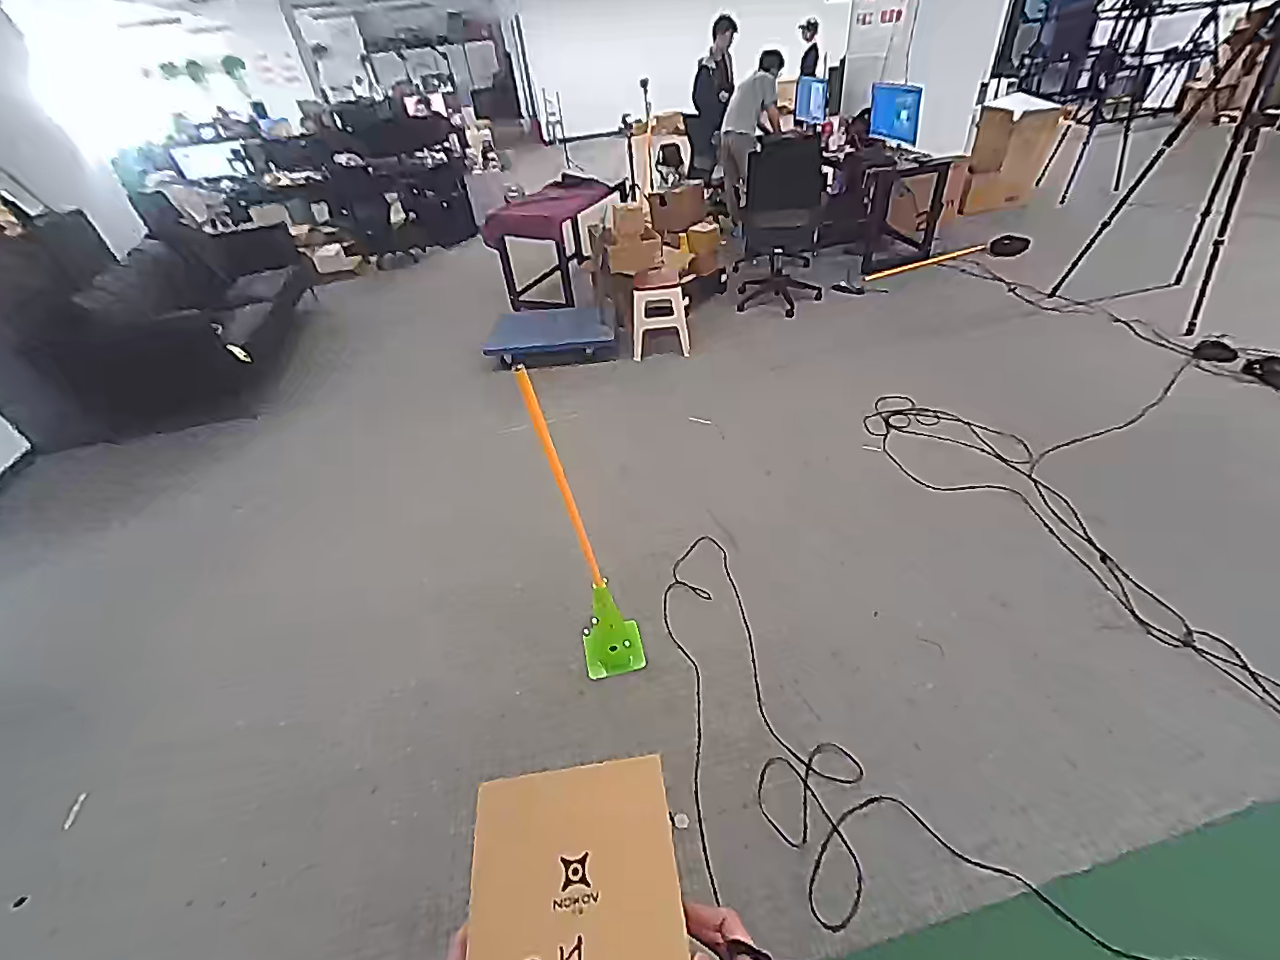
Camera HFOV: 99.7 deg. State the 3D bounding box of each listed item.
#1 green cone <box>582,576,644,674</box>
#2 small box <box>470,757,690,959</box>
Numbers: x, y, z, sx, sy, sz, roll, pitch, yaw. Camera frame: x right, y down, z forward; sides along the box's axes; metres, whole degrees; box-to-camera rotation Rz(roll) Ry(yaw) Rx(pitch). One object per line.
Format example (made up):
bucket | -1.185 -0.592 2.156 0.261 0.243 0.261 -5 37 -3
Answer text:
green cone | -0.109 0.455 1.803 0.202 0.368 0.200 -11 41 -7
small box | -0.046 0.380 0.490 0.168 0.176 0.179 -7 46 -2
